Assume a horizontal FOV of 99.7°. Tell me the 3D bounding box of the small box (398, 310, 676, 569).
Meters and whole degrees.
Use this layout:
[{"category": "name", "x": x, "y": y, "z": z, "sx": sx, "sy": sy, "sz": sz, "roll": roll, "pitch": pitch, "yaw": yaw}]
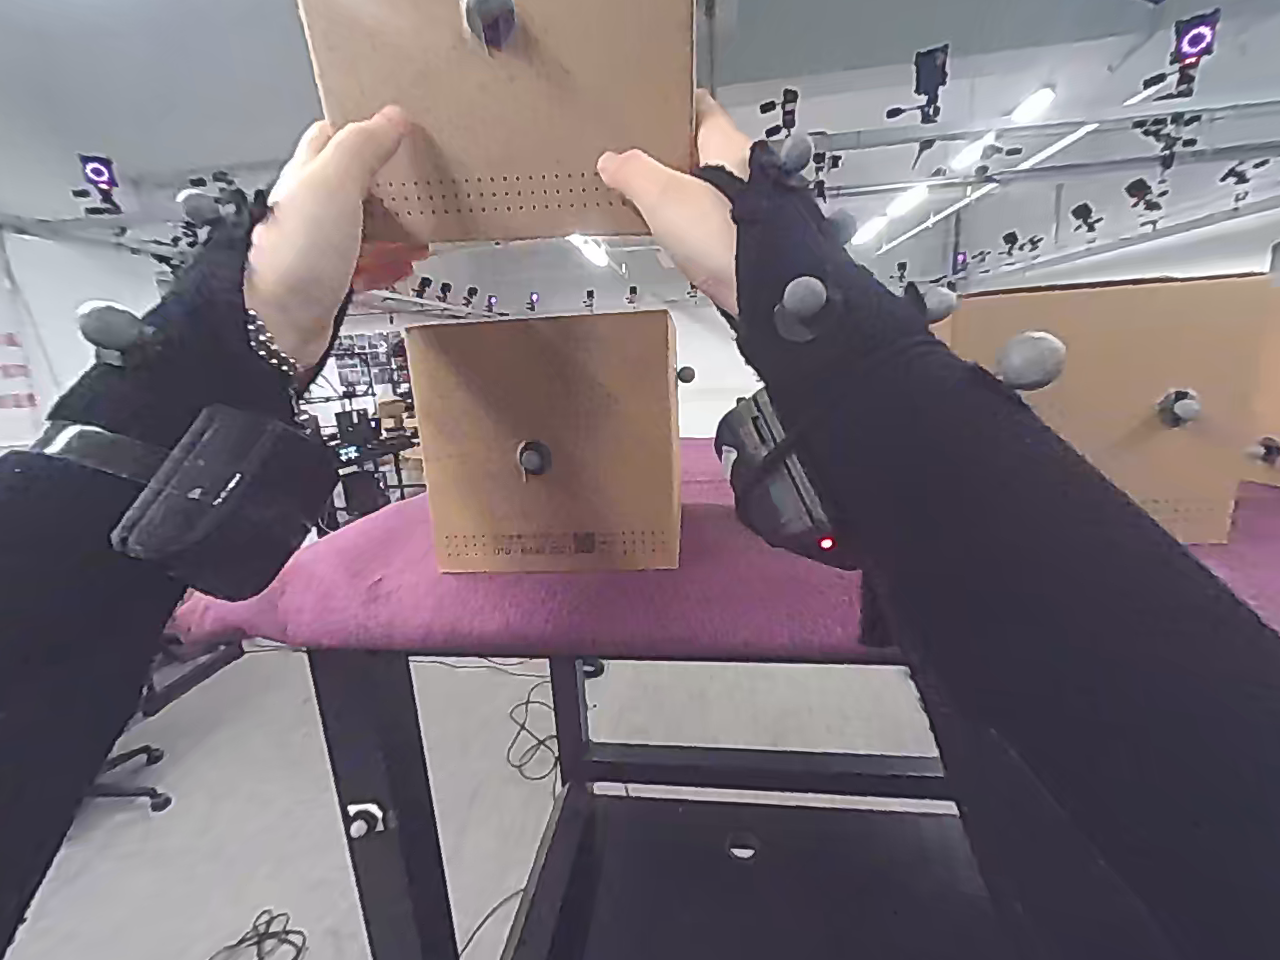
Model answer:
[{"category": "small box", "x": -0.058, "y": -0.036, "z": 0.425, "sx": 0.168, "sy": 0.176, "sz": 0.179, "roll": -1, "pitch": 14, "yaw": 5}]
